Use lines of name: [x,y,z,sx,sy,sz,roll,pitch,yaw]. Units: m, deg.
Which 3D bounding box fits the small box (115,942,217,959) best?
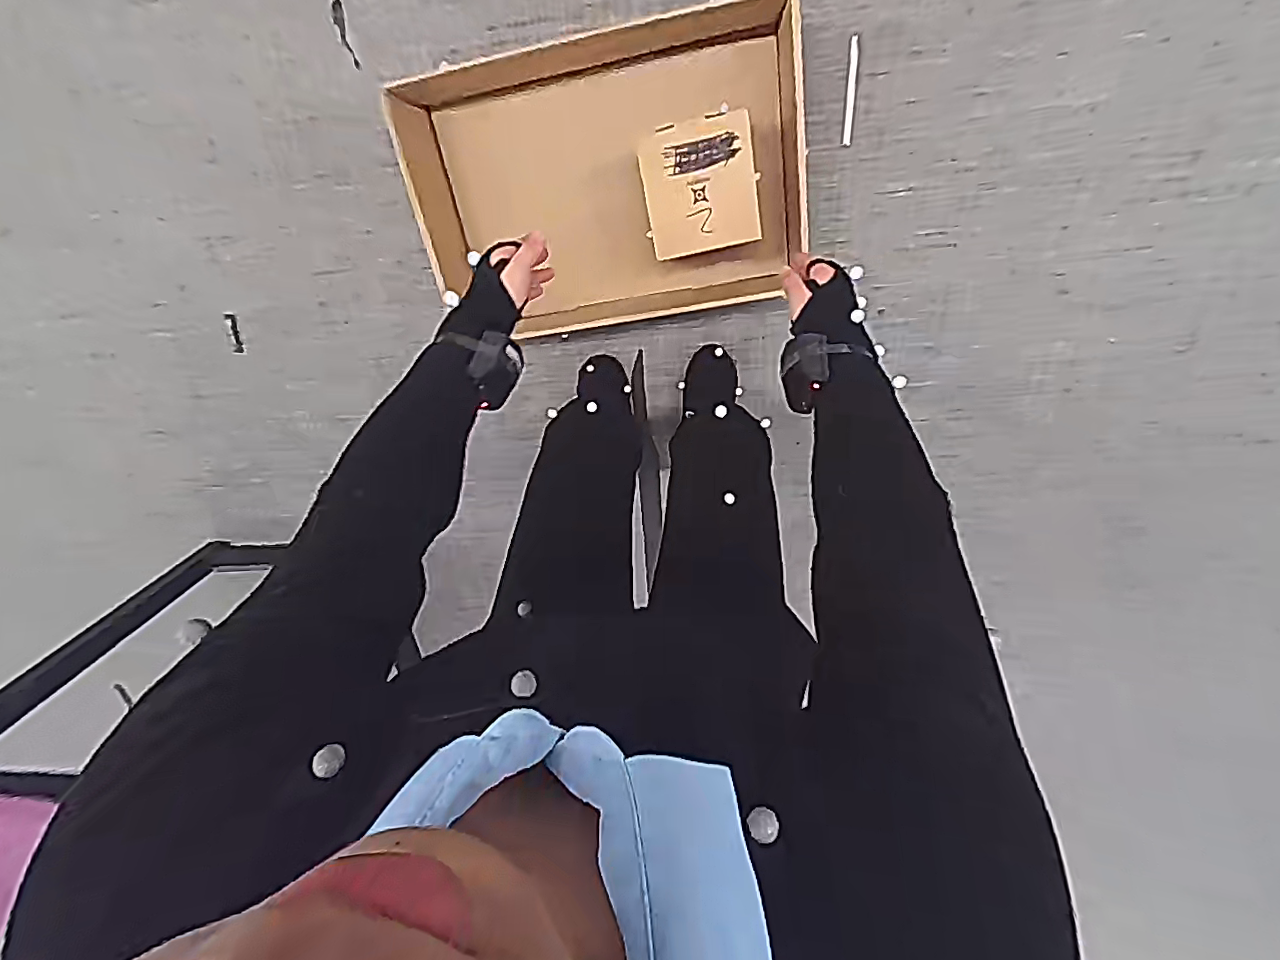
small box: [-0.852,0.937,0.929,0.179,0.176,0.168,-1,117,7]
